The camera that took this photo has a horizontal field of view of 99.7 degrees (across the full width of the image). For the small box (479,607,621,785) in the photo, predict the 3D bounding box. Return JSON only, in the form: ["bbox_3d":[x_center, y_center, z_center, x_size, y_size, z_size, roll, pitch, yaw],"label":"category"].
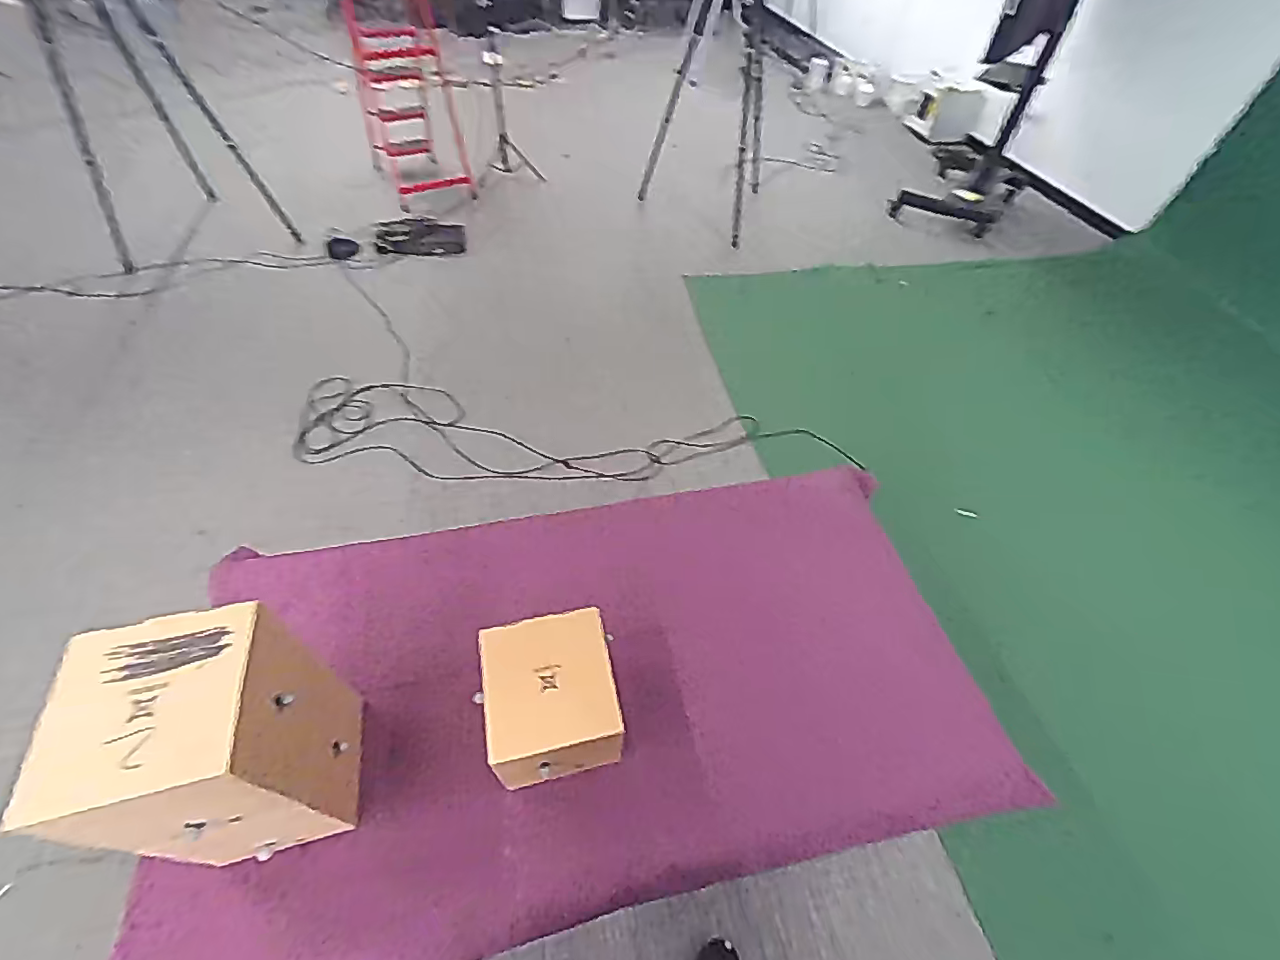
[{"bbox_3d":[-0.124,0.309,0.760,0.168,0.176,0.179,-9,51,-12],"label":"small box"}]

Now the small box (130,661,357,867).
[{"bbox_3d":[-0.473,0.358,0.683,0.168,0.176,0.179,-10,53,-13],"label":"small box"}]
